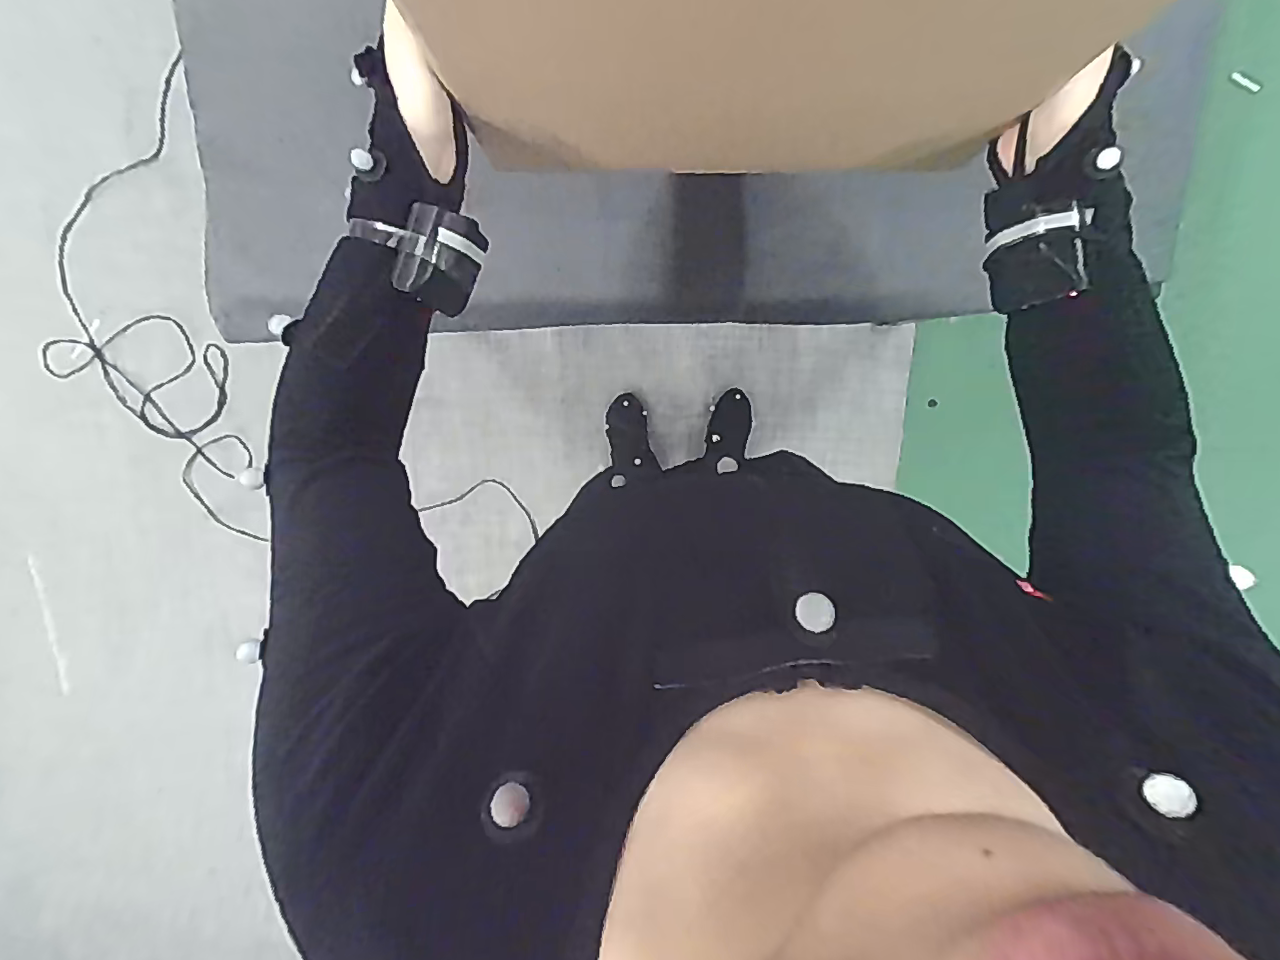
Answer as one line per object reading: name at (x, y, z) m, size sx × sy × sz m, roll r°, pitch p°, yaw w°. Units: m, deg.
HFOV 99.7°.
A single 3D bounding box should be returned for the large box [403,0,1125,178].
large box at (0.066, -0.408, 0.317) m, size 0.408 × 0.320 × 0.320 m, roll -1°, pitch 97°, yaw 0°
